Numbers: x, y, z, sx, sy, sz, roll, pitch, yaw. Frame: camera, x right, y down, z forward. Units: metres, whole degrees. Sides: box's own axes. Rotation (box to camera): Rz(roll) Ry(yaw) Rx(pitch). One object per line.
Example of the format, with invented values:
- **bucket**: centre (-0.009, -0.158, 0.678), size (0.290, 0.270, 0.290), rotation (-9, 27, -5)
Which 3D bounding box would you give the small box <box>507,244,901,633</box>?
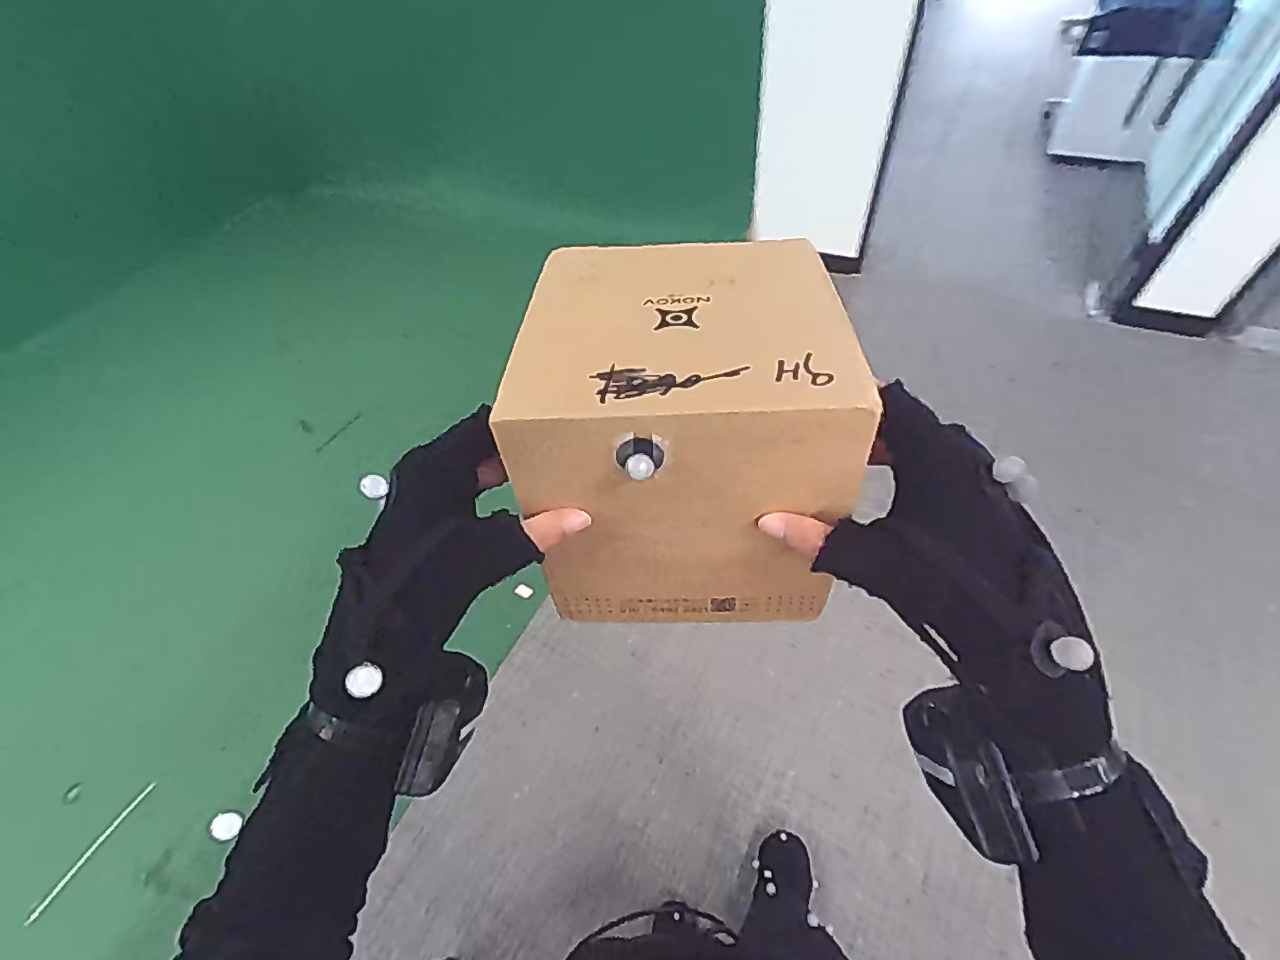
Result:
- **small box**: centre (0.035, -0.027, 0.336), size (0.168, 0.176, 0.179), rotation (-1, 44, 6)
